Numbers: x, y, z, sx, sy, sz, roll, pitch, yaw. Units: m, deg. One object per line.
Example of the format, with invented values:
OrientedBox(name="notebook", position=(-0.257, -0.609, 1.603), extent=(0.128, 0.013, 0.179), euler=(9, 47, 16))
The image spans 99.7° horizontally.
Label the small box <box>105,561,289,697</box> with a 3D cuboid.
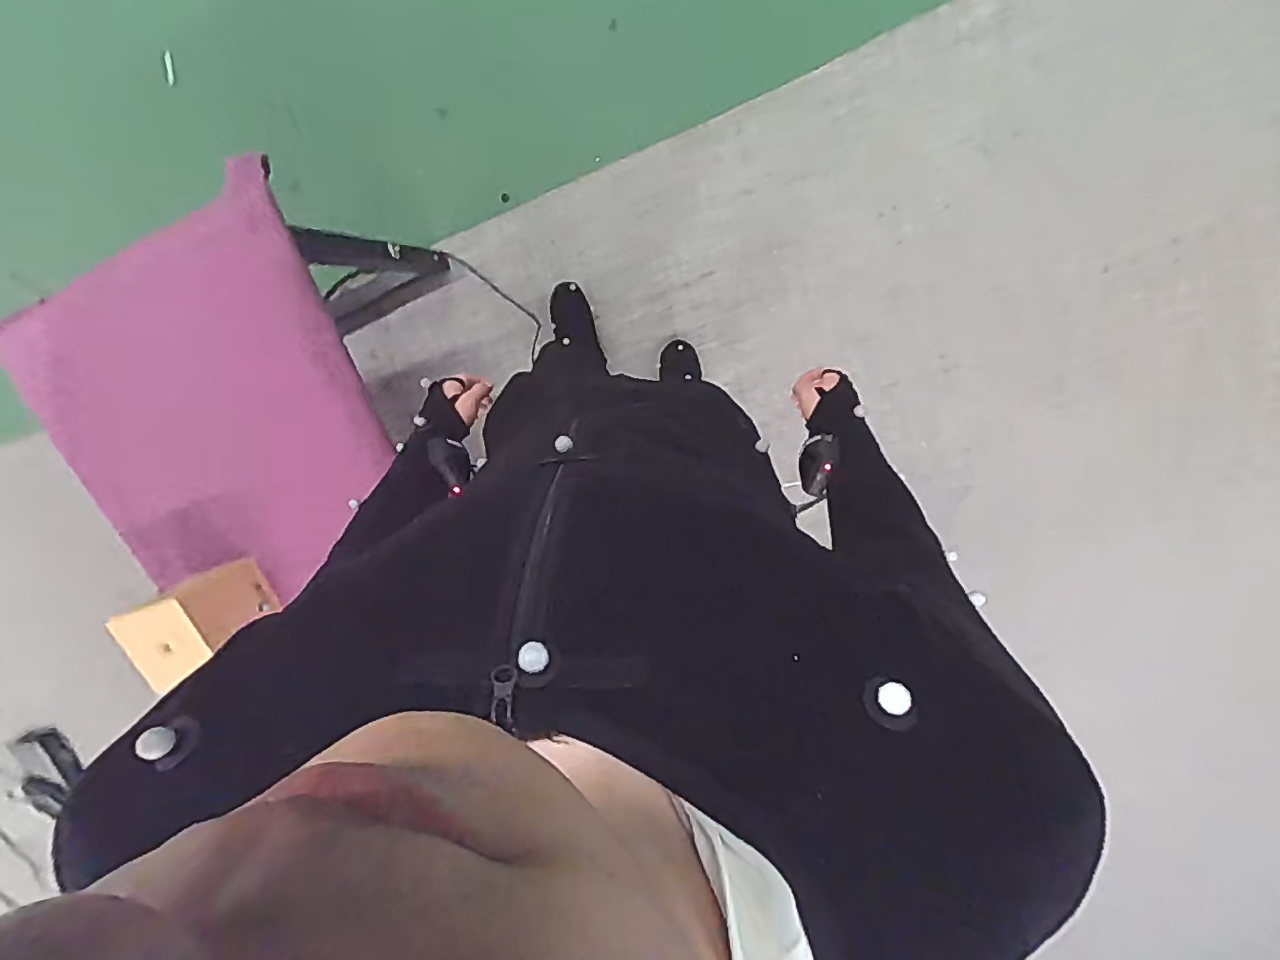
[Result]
OrientedBox(name="small box", position=(-0.828, 0.278, 1.029), extent=(0.179, 0.176, 0.168), euler=(-18, 105, 13))
